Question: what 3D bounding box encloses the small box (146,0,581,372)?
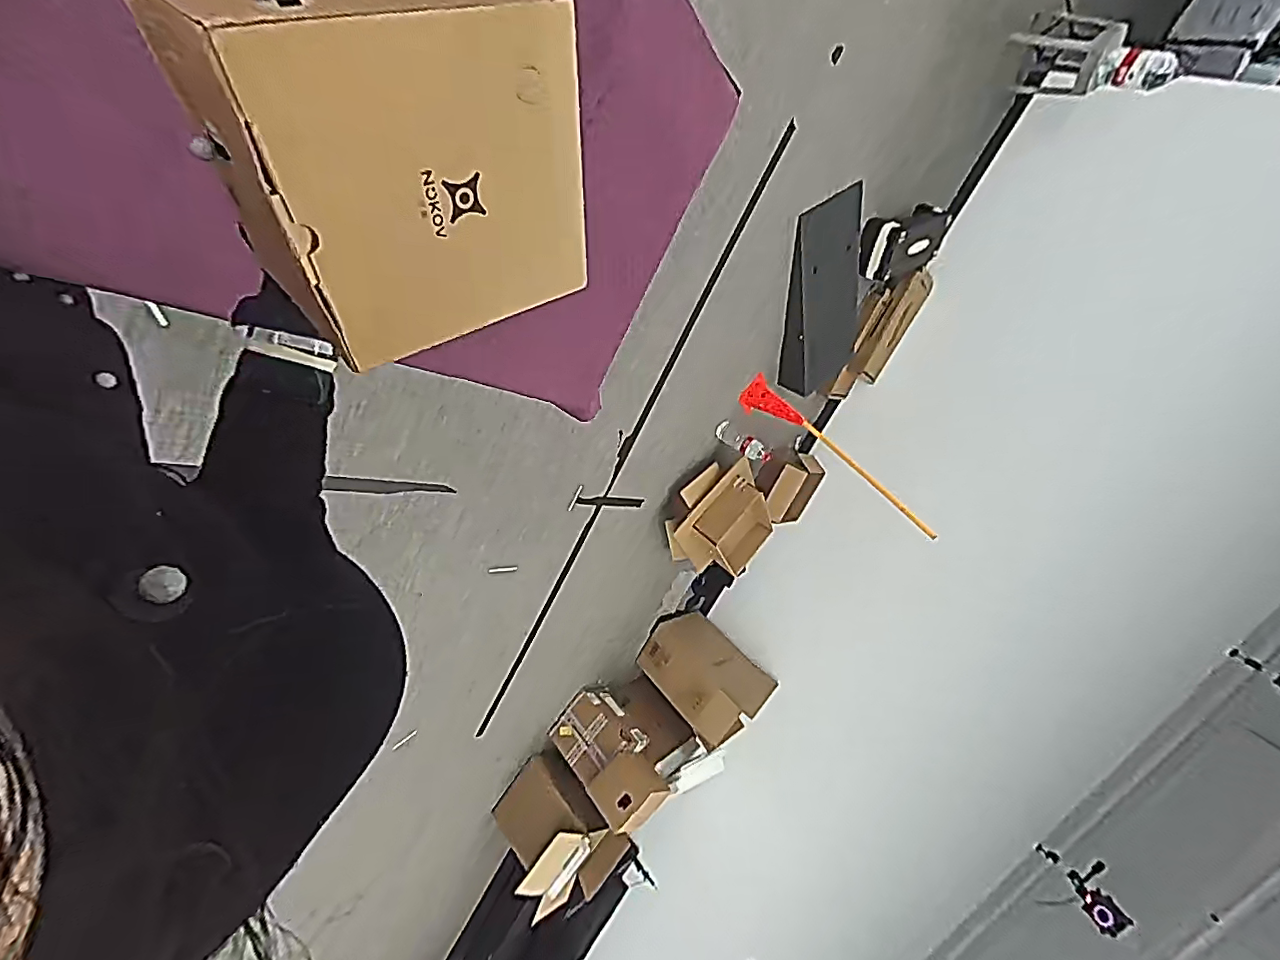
[{"bbox_3d":[-0.158,-0.206,0.350,0.179,0.176,0.168,-32,148,-27],"label":"small box"}]
